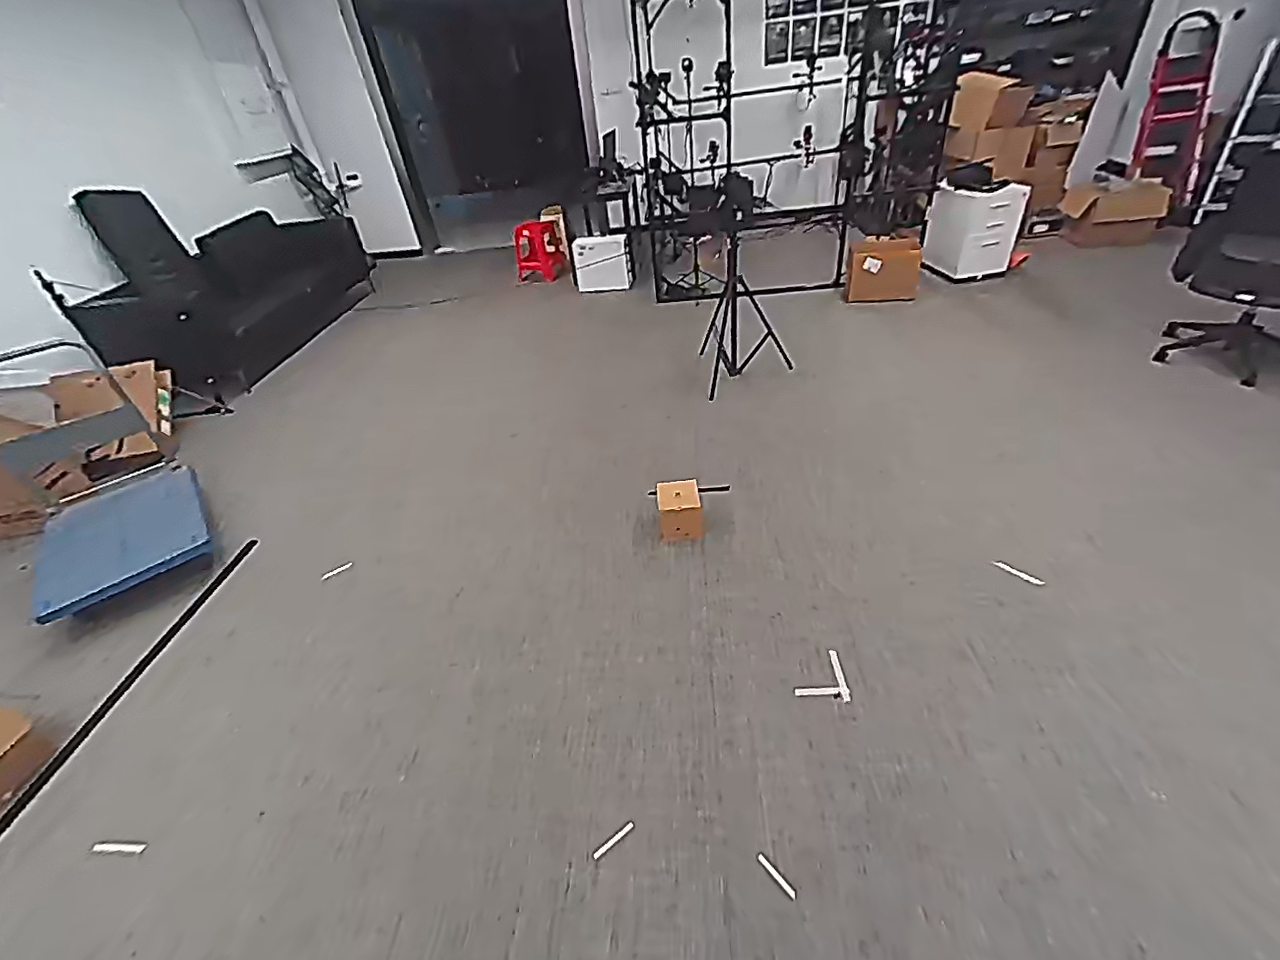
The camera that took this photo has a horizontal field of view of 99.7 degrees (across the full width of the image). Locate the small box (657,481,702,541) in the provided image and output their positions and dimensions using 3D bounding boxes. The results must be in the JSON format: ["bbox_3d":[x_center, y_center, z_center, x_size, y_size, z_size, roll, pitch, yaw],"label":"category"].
[{"bbox_3d":[0.161,0.127,2.204,0.168,0.176,0.179,-7,37,2],"label":"small box"}]
